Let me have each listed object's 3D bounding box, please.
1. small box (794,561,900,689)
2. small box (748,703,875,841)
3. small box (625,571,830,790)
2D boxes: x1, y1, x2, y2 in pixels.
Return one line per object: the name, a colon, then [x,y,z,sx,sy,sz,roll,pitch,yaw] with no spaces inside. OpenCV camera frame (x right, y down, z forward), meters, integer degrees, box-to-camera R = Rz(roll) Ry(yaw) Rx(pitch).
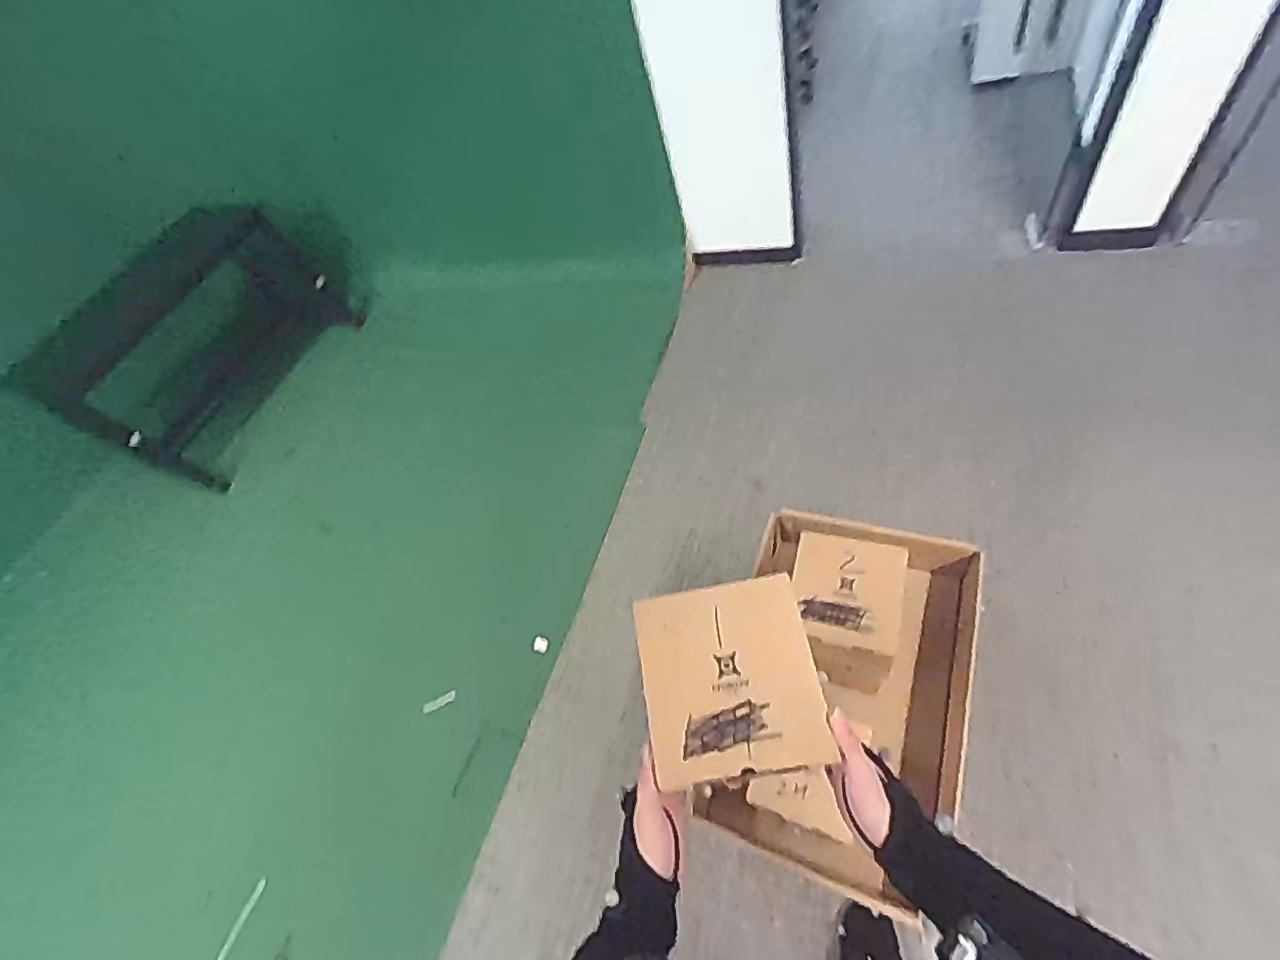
small box: [0.393,0.282,1.043,0.168,0.176,0.179,10,64,24]
small box: [0.298,0.492,0.933,0.168,0.176,0.179,11,62,26]
small box: [0.090,0.219,0.583,0.168,0.176,0.179,-13,61,5]
